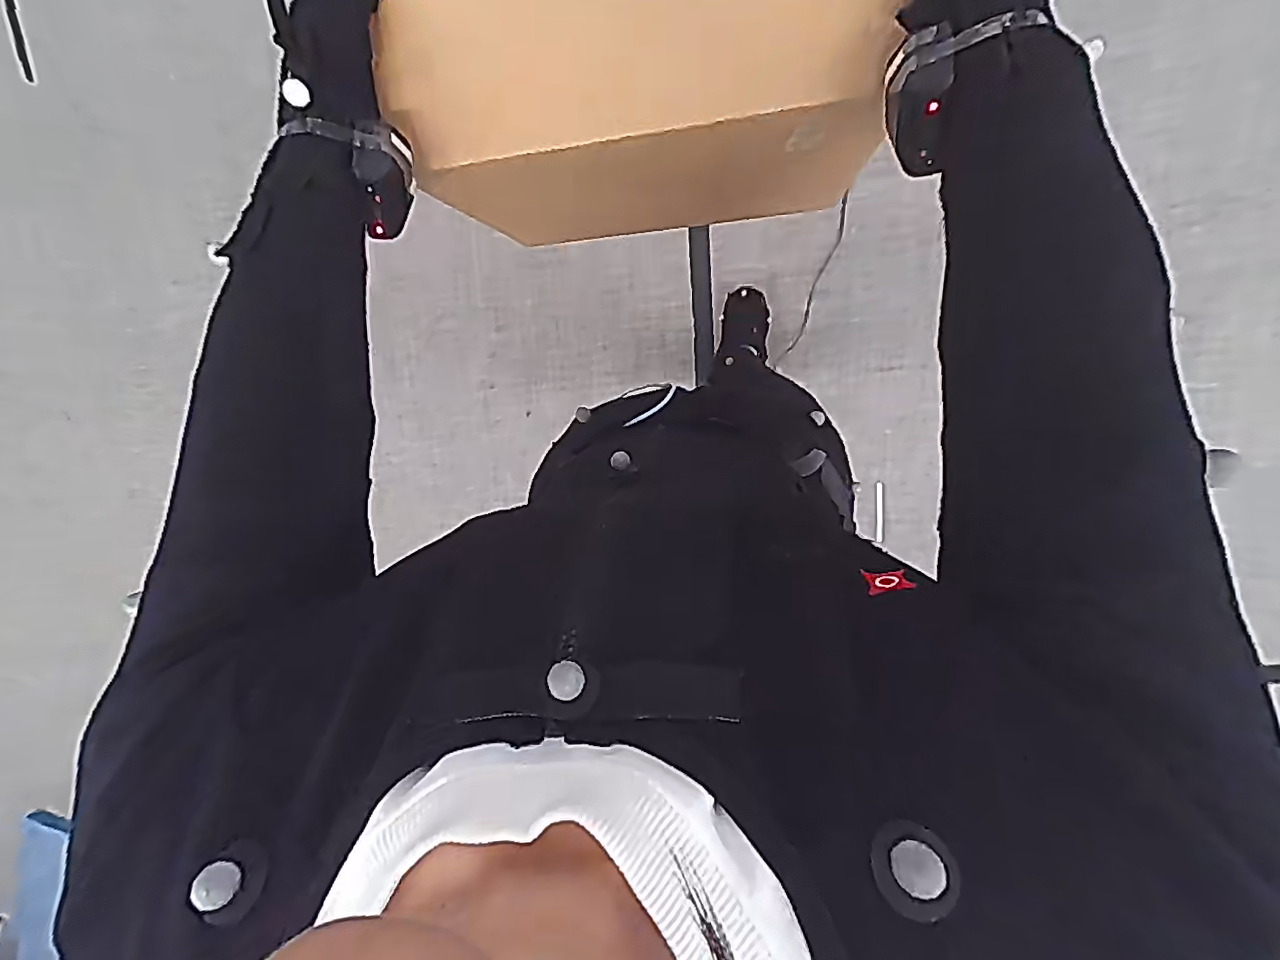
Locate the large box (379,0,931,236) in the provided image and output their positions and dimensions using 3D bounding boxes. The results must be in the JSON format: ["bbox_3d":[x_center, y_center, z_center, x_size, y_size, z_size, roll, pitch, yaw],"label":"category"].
[{"bbox_3d":[0.010,-0.456,0.521,0.408,0.320,0.320,-4,103,9],"label":"large box"}]
